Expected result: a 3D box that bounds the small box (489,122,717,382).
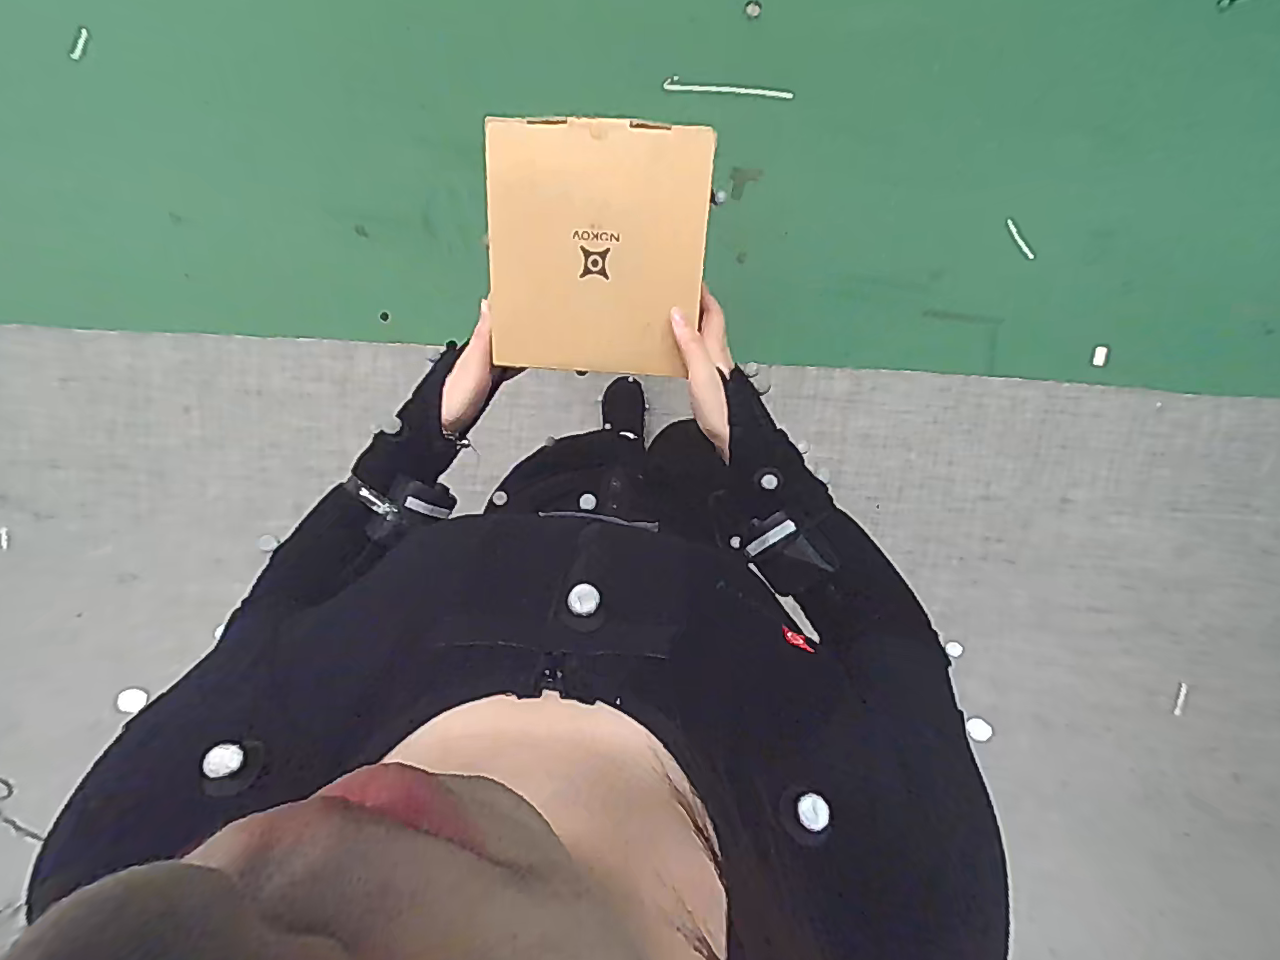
[{"bbox_3d":[-0.025,-0.194,0.483,0.168,0.176,0.179,4,111,3],"label":"small box"}]
